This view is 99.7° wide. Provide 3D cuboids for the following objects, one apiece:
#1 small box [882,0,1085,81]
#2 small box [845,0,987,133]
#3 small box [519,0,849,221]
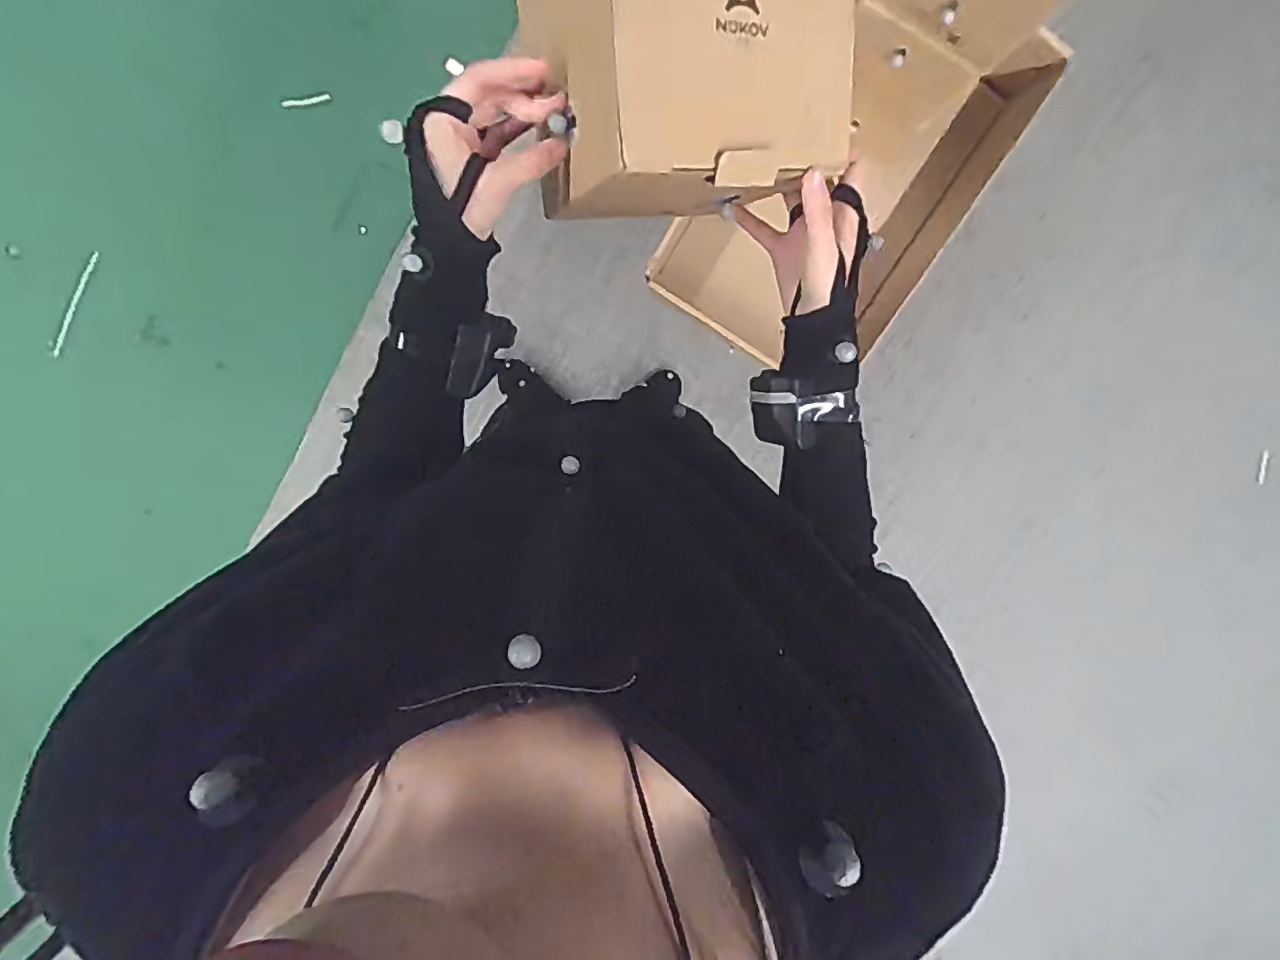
[{"bbox_3d":[0.384,-0.568,0.549,0.168,0.176,0.179,29,102,-4],"label":"small box"},{"bbox_3d":[0.376,-0.598,0.712,0.179,0.176,0.168,27,102,-4],"label":"small box"},{"bbox_3d":[0.022,-0.287,0.378,0.168,0.176,0.179,-12,109,-22],"label":"small box"}]
